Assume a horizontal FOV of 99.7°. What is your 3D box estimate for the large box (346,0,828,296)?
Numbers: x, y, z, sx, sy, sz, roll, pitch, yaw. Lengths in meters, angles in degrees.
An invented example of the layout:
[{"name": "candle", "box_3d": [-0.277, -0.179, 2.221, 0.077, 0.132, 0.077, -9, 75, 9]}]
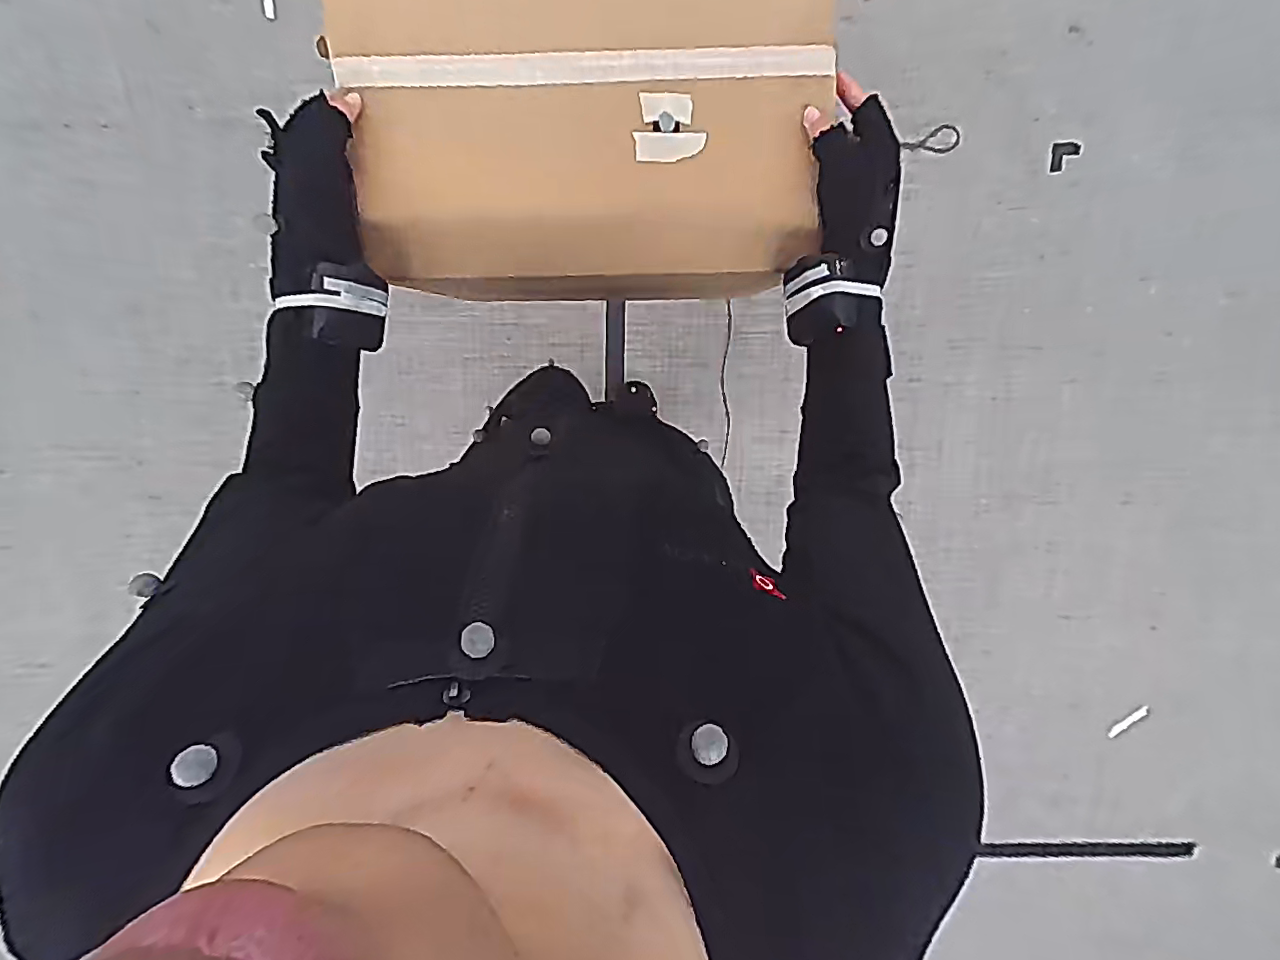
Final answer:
[{"name": "large box", "box_3d": [-0.045, -0.385, 0.599, 0.408, 0.320, 0.320, -2, 106, -1]}]
